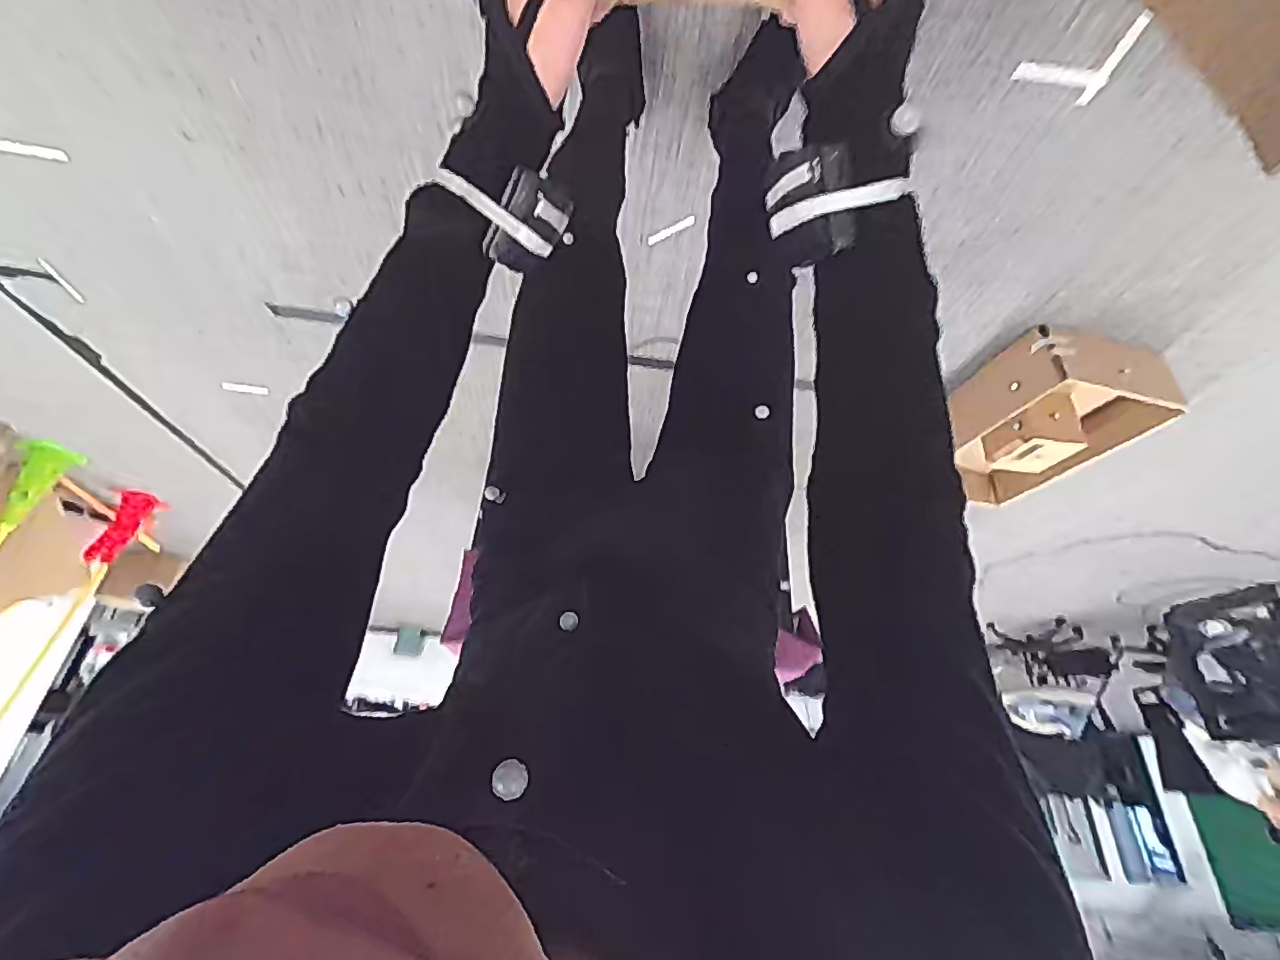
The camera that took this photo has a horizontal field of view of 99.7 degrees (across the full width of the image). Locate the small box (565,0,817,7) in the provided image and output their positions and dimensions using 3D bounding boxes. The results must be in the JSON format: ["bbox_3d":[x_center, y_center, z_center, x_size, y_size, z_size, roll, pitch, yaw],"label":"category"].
[{"bbox_3d":[0.033,-0.413,0.304,0.179,0.176,0.168,1,158,1],"label":"small box"}]
